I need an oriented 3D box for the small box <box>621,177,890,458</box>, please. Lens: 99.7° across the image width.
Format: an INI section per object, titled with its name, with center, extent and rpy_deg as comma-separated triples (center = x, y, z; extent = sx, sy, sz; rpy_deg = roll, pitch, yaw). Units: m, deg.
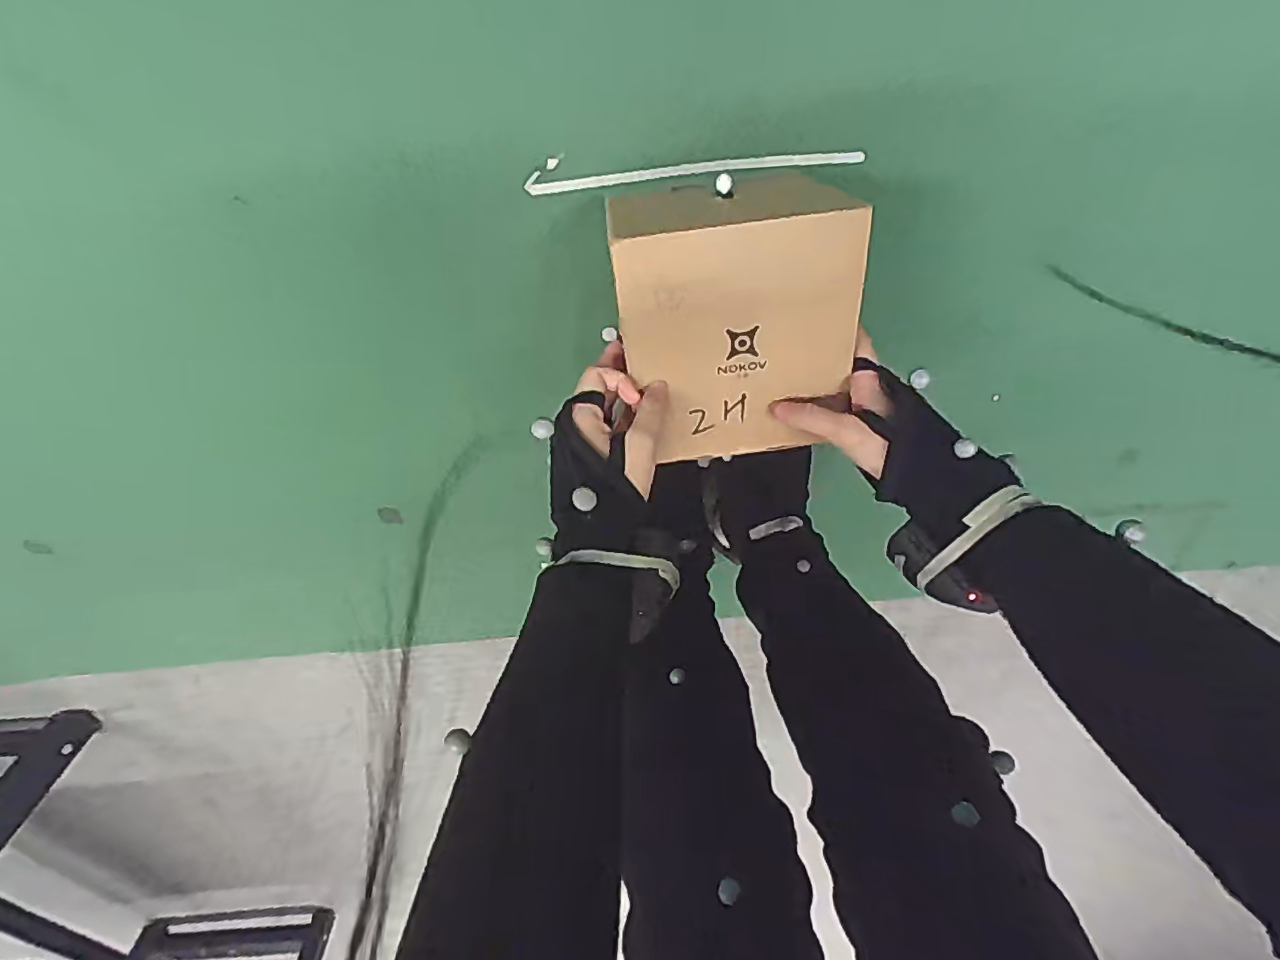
[small box]
center = 0.075, -0.142, 0.446
extent = 0.168, 0.176, 0.179
rpy_deg = -6, 126, -1
